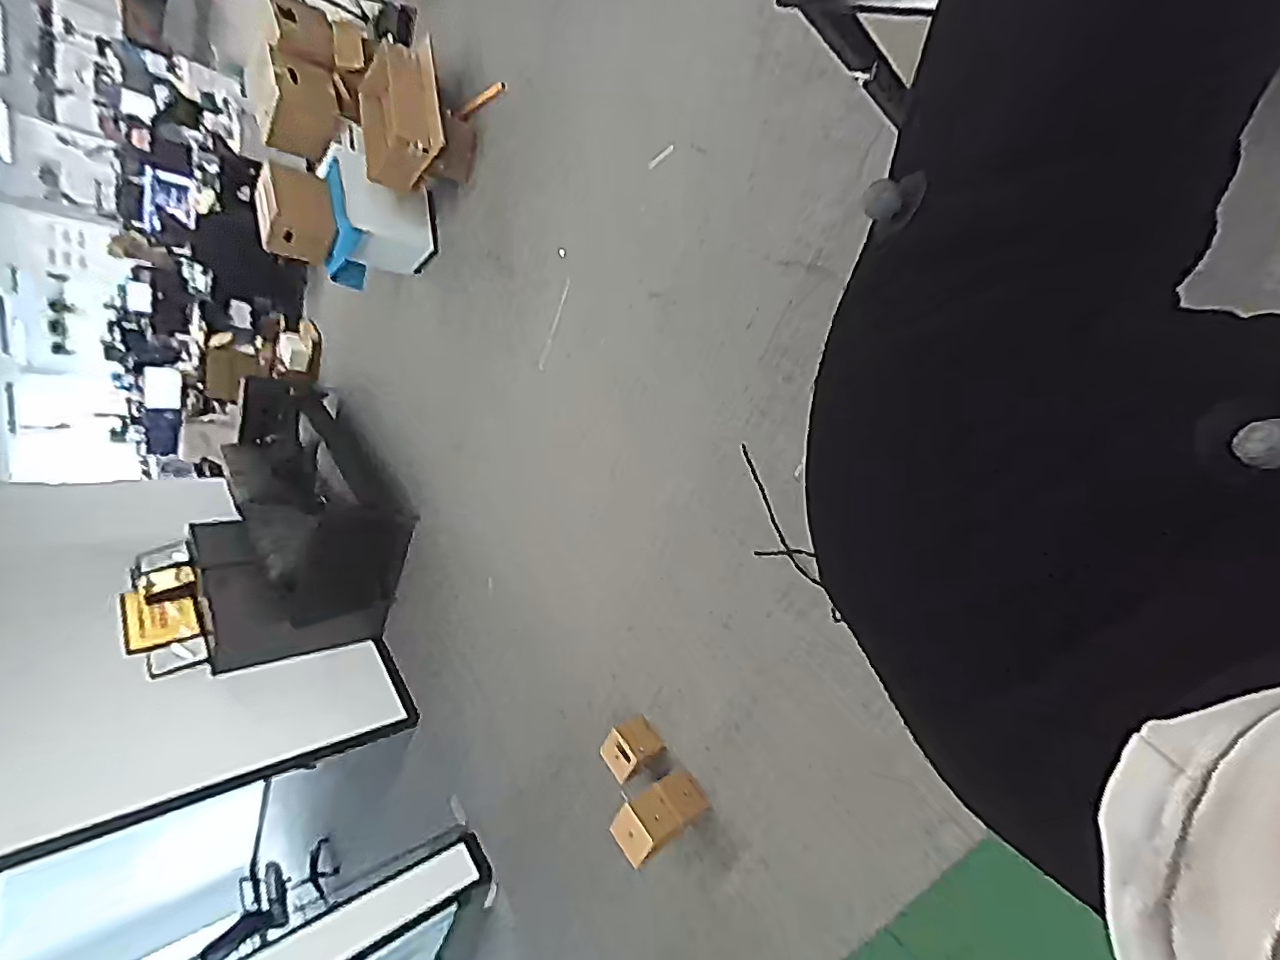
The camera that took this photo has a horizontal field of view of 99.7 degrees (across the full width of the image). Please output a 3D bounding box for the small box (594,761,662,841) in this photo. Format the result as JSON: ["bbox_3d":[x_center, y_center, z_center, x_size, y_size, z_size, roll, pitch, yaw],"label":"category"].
[{"bbox_3d":[-0.038,1.217,2.063,0.168,0.176,0.179,42,120,32],"label":"small box"}]

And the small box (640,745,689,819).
[{"bbox_3d":[0.073,1.210,2.181,0.168,0.176,0.179,45,121,32],"label":"small box"}]
